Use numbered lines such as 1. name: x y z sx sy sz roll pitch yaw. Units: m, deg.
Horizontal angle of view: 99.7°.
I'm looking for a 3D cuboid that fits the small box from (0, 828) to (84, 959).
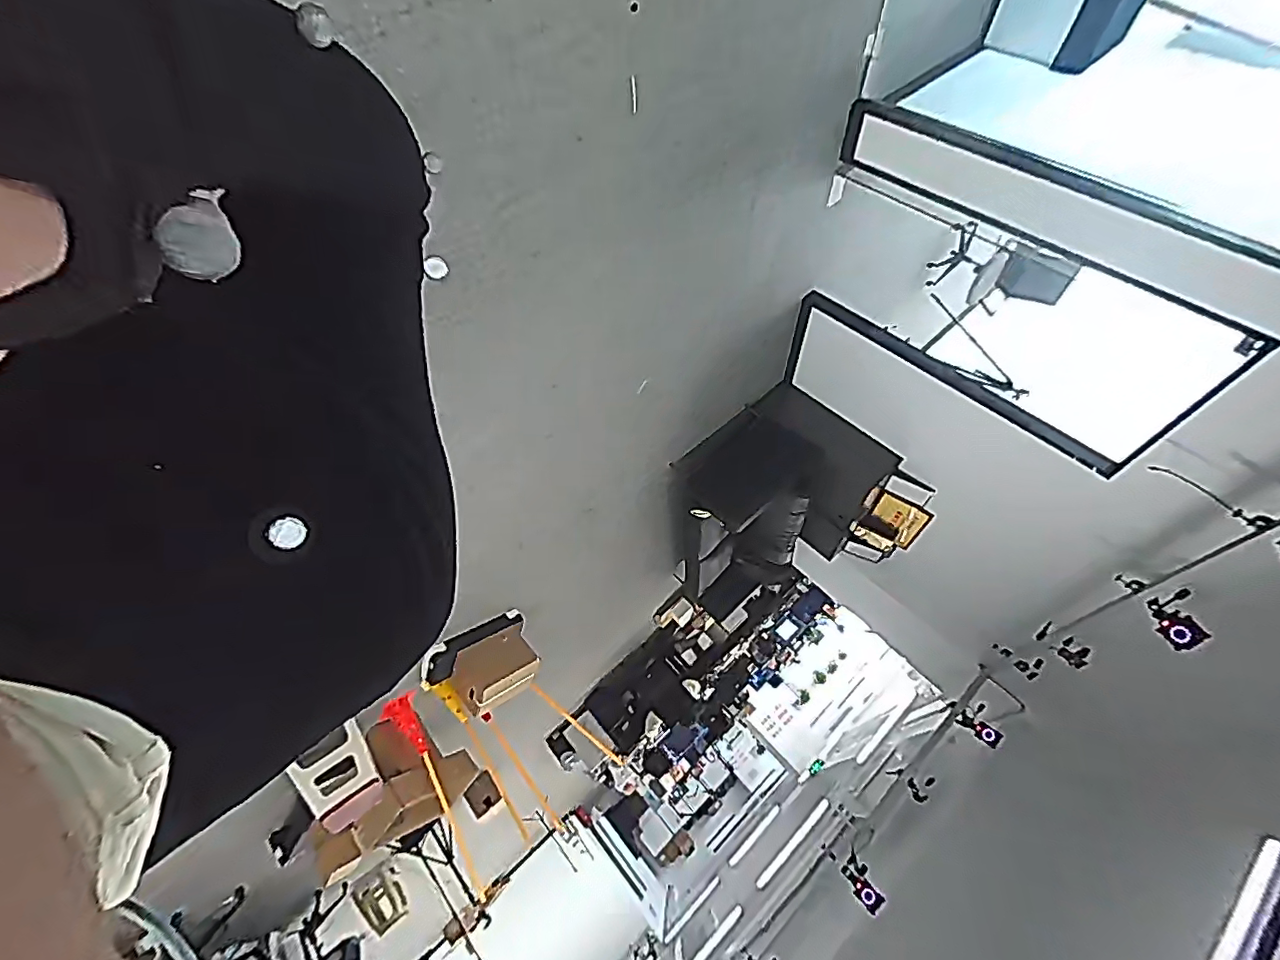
1. small box: -1.220 0.792 1.010 0.179 0.176 0.168 -41 154 -17
